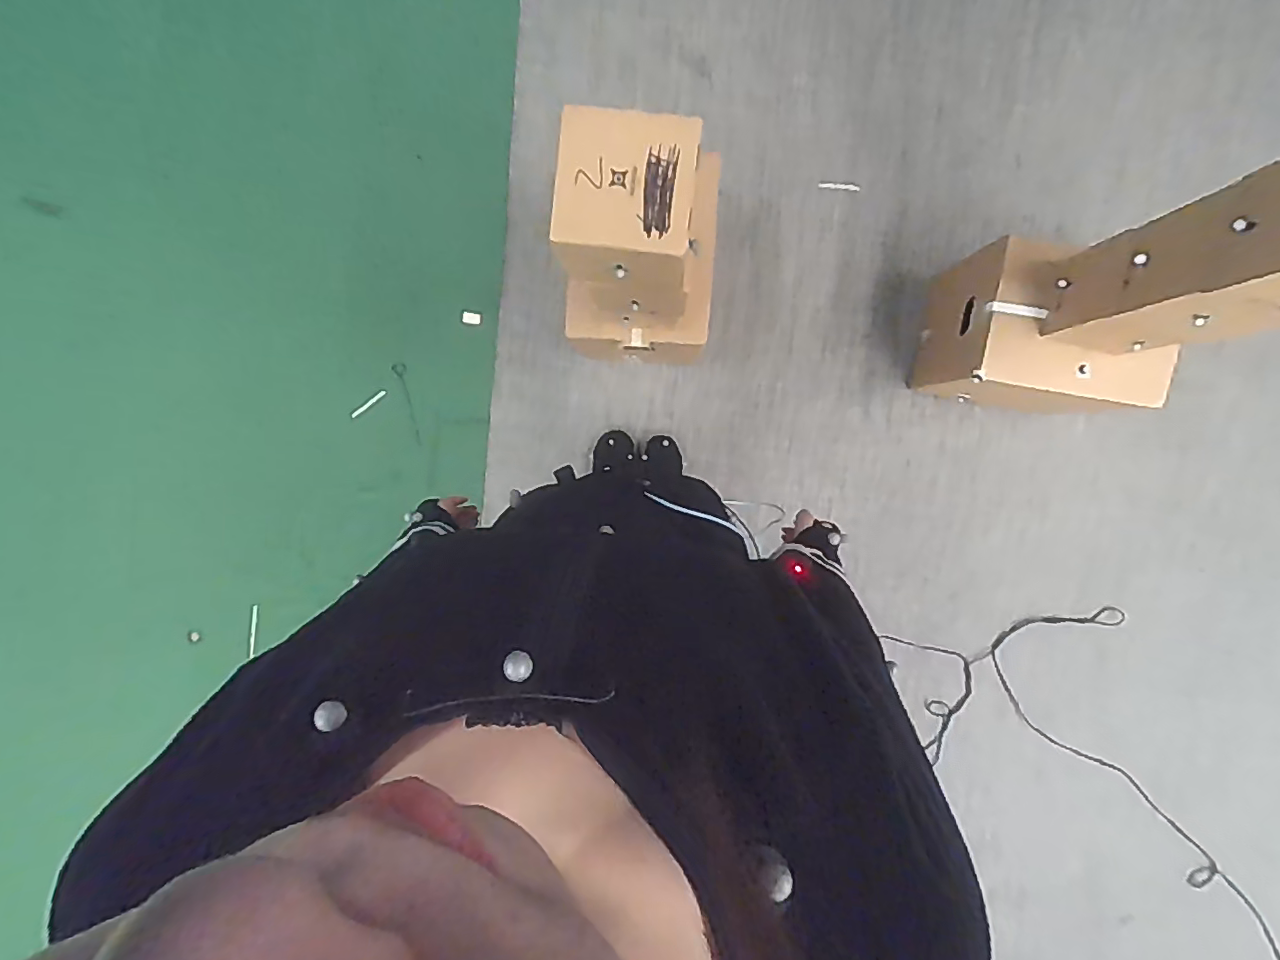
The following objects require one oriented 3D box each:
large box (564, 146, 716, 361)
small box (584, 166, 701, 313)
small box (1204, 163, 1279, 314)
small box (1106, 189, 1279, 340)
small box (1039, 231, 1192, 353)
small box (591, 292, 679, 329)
[{"bbox_3d":[0.004,-0.515,1.308,0.320,0.320,0.408,4,94,1],"label":"large box"},{"bbox_3d":[0.006,-0.391,0.909,0.168,0.176,0.179,6,94,1],"label":"small box"},{"bbox_3d":[0.936,-0.334,0.727,0.168,0.176,0.179,14,94,0],"label":"small box"},{"bbox_3d":[0.940,-0.341,0.891,0.179,0.176,0.168,15,93,1],"label":"small box"},{"bbox_3d":[0.941,-0.355,1.055,0.179,0.176,0.168,14,93,0],"label":"small box"},{"bbox_3d":[0.003,-0.407,1.073,0.168,0.176,0.179,6,94,1],"label":"small box"}]
